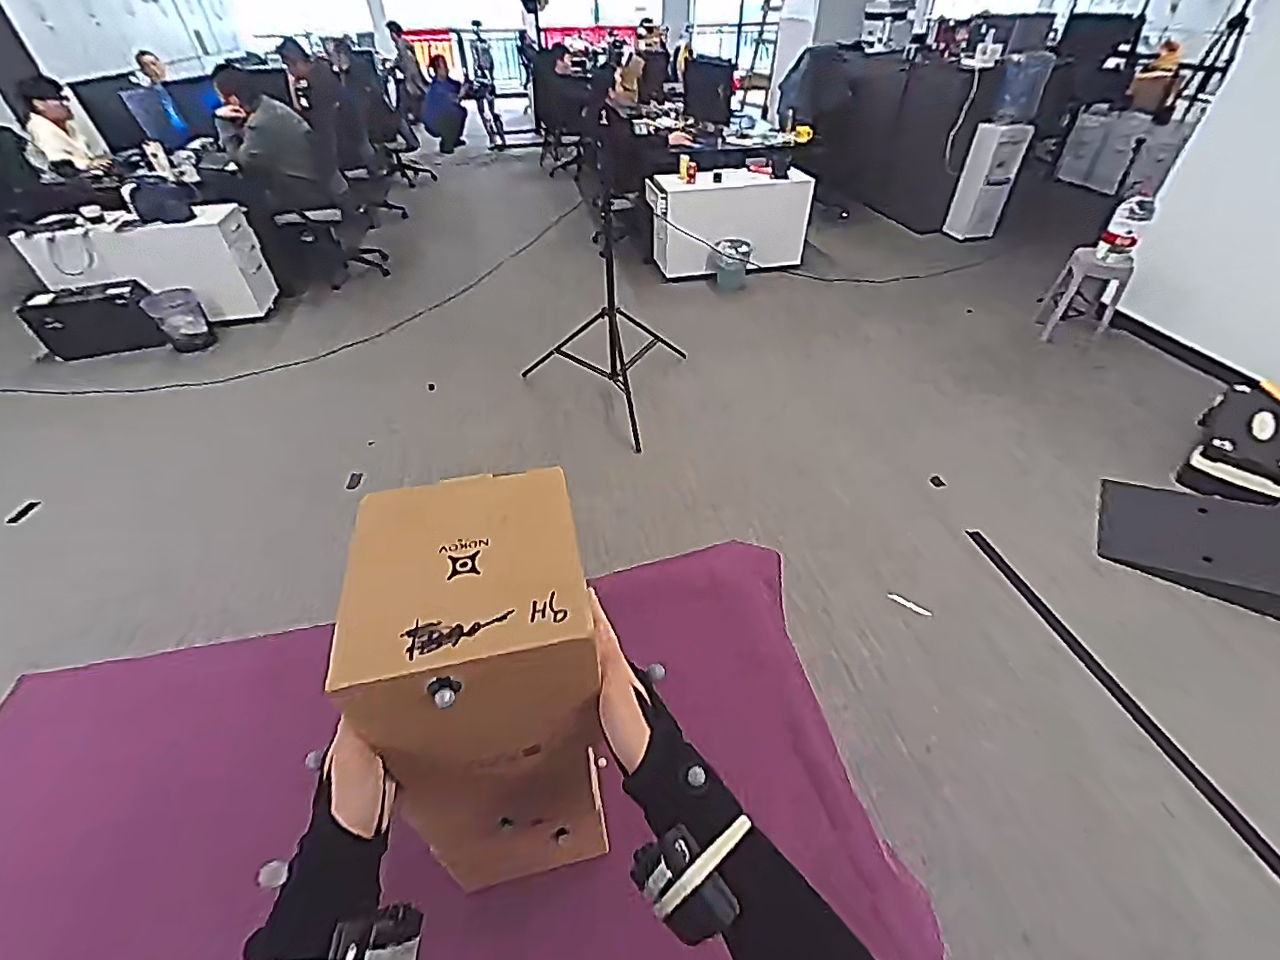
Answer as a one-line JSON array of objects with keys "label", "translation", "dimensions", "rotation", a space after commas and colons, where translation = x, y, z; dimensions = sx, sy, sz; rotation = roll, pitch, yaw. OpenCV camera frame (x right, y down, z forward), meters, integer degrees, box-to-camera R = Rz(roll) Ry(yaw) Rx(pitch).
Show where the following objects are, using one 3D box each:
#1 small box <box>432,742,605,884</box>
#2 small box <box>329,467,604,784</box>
[{"label": "small box", "translation": [-0.141, 0.363, 0.667], "dimensions": [0.179, 0.176, 0.168], "rotation": [-10, 42, -9]}, {"label": "small box", "translation": [-0.126, 0.116, 0.450], "dimensions": [0.168, 0.176, 0.179], "rotation": [-9, 42, -10]}]
